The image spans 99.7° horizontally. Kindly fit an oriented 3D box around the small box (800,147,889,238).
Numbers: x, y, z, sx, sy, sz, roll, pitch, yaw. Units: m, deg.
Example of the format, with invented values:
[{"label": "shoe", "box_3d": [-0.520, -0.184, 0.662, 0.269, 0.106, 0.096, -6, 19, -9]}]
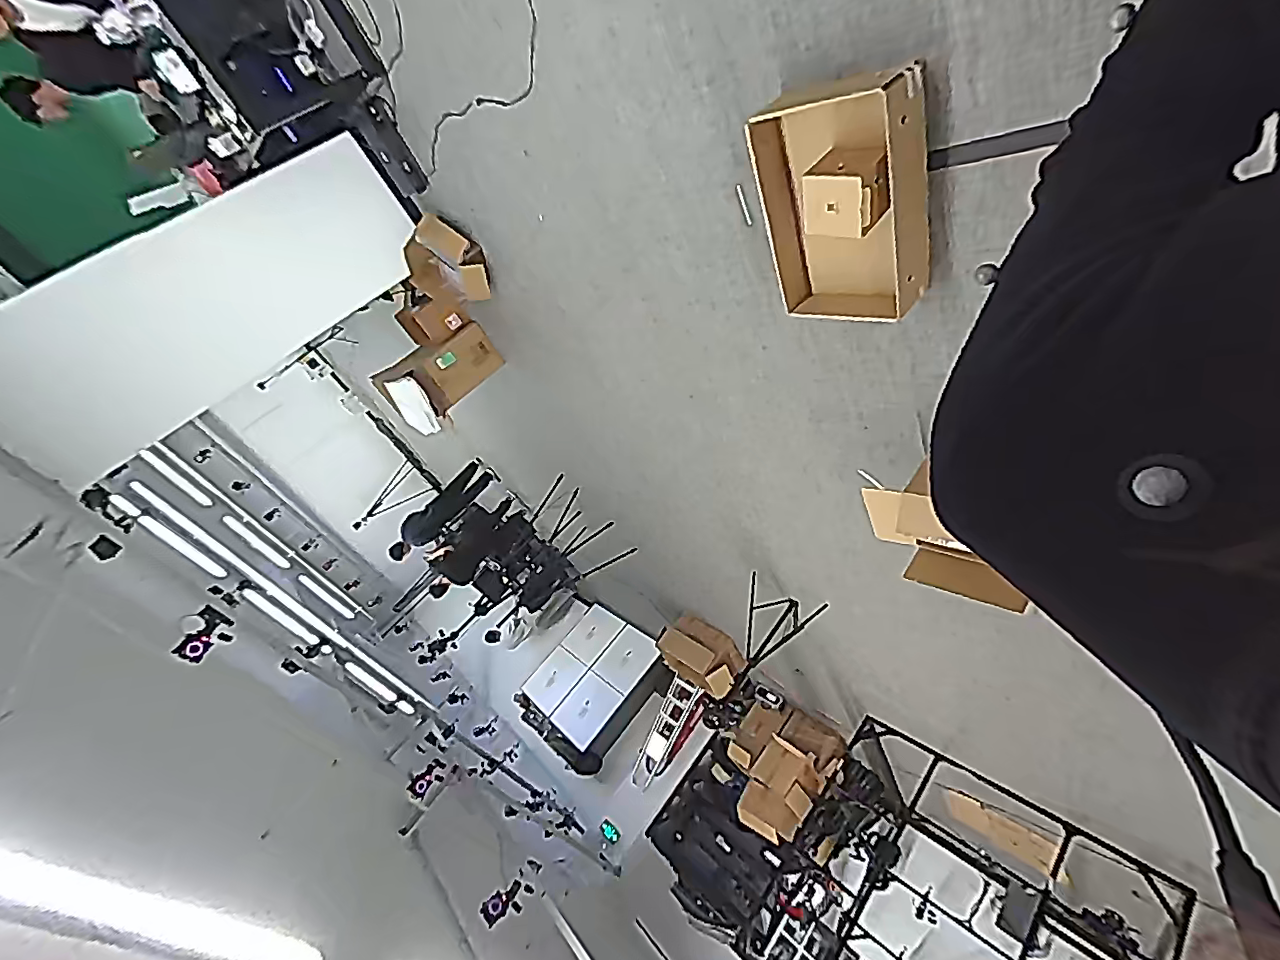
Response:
[{"label": "small box", "box_3d": [0.564, -0.794, 1.489, 0.179, 0.176, 0.168, 26, 153, 36]}]
